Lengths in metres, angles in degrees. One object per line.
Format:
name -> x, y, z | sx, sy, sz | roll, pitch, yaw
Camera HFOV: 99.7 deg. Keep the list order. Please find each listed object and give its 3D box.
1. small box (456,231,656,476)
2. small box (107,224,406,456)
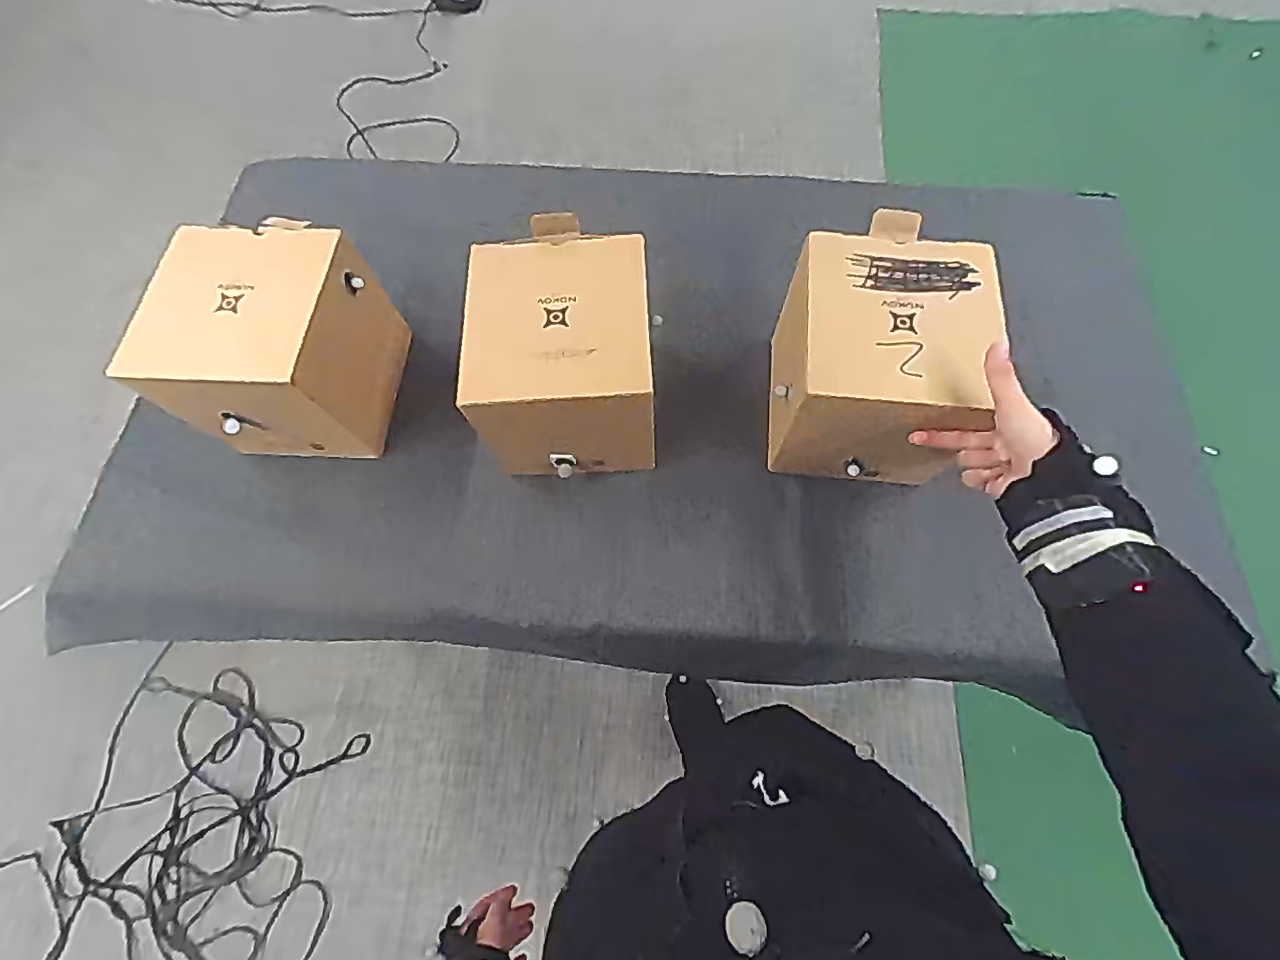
small box -> -0.071, -0.118, 0.549 | 0.168, 0.176, 0.179 | -4, 69, 2
small box -> -0.369, -0.136, 0.564 | 0.168, 0.176, 0.179 | 2, 67, 2
